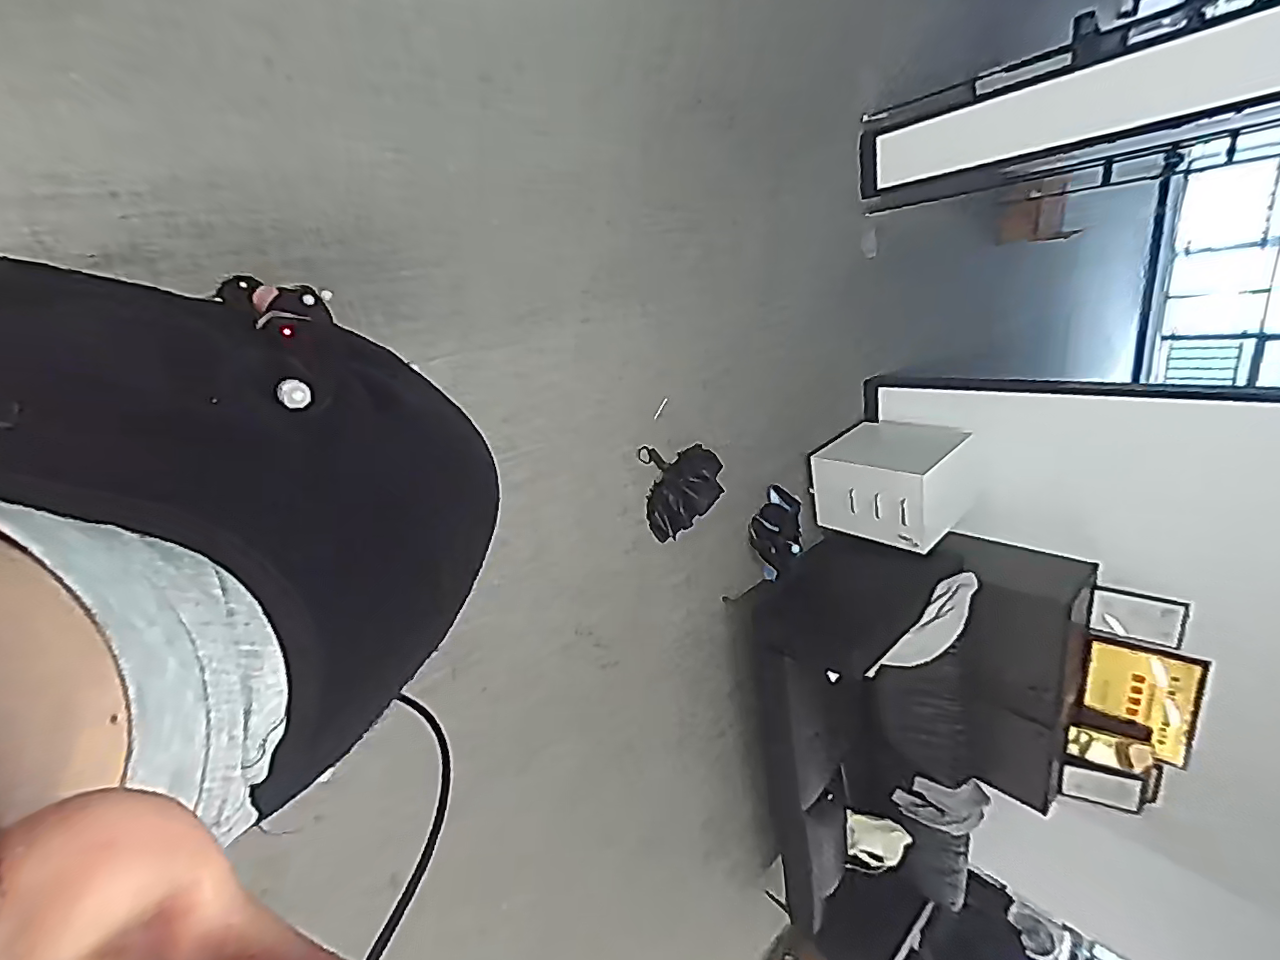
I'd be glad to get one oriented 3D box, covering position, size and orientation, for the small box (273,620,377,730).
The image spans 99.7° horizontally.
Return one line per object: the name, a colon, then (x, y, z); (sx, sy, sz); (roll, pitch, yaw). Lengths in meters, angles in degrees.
small box: (-0.819, 0.498, 1.407); (0.168, 0.176, 0.179); (-32, 118, -32)
